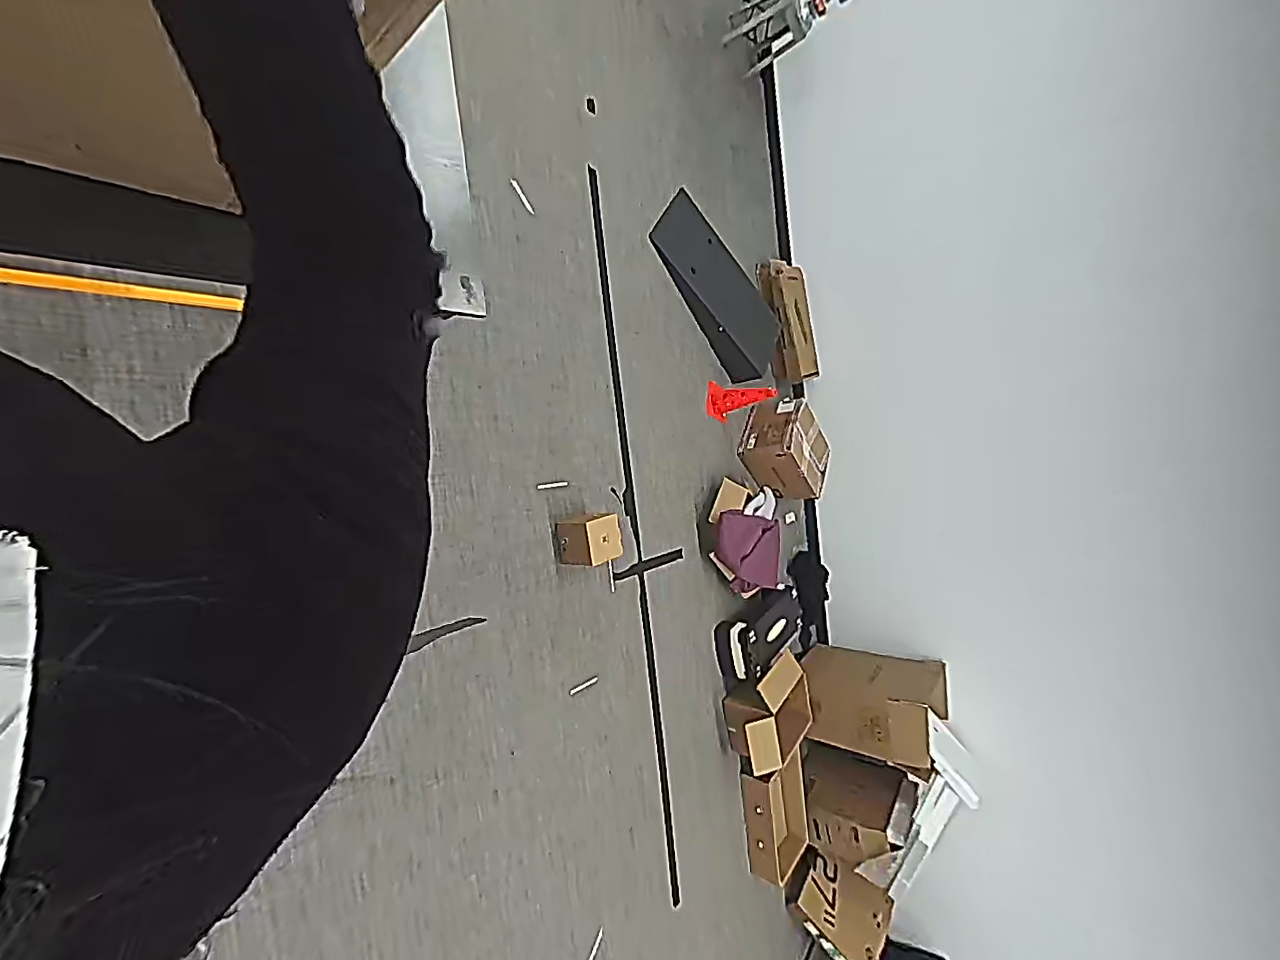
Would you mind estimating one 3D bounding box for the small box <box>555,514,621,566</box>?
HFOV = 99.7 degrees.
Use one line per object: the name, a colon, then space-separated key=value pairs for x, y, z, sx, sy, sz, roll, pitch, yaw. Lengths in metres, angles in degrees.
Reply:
small box: x=-0.200 y=0.225 z=2.070 sx=0.179 sy=0.176 sz=0.168 roll=-15 pitch=97 yaw=-49
